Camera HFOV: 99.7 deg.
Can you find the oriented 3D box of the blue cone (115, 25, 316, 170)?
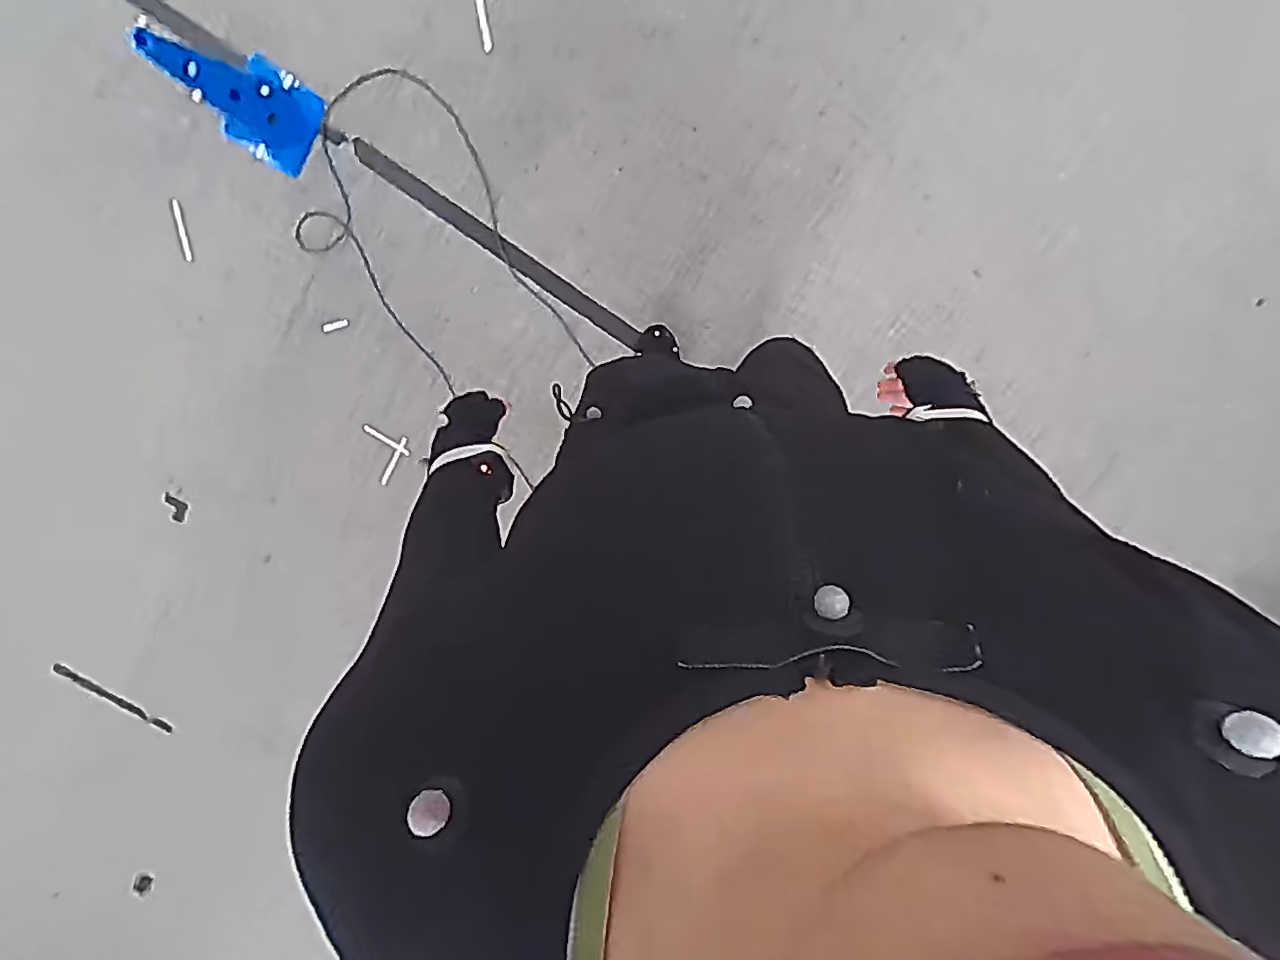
[{"bbox_3d":[-0.867,-0.805,1.103,0.192,0.380,0.193,32,104,-7],"label":"blue cone"}]
